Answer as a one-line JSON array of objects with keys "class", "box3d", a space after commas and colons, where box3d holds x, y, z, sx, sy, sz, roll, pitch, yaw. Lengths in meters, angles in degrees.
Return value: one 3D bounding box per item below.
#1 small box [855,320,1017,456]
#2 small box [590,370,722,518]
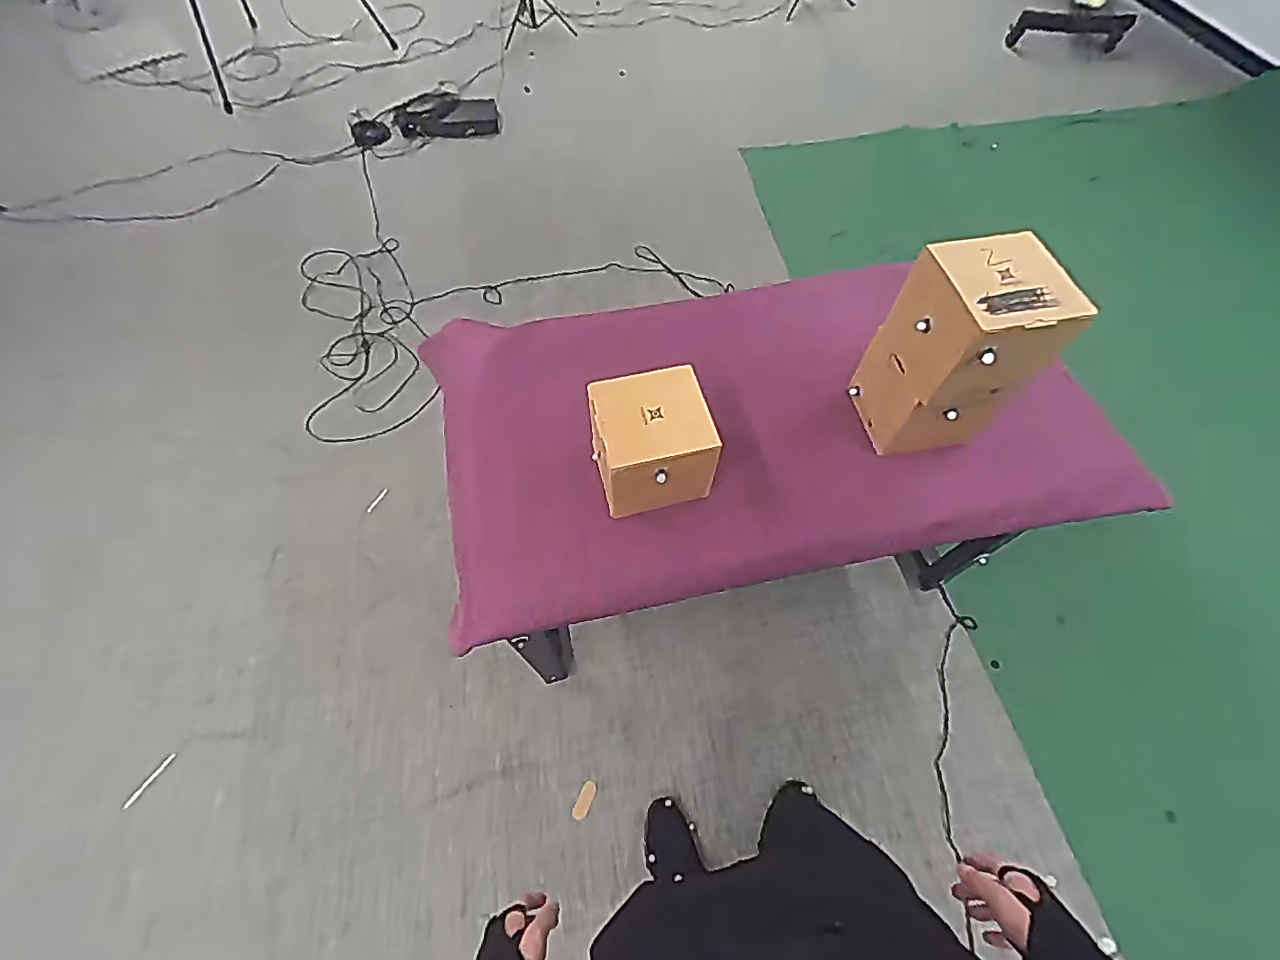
[{"class": "small box", "box3d": [0.506, -0.157, 0.963, 0.179, 0.176, 0.168, -8, 61, -5]}, {"class": "small box", "box3d": [0.021, -0.056, 0.906, 0.179, 0.176, 0.168, -13, 62, -7]}]
